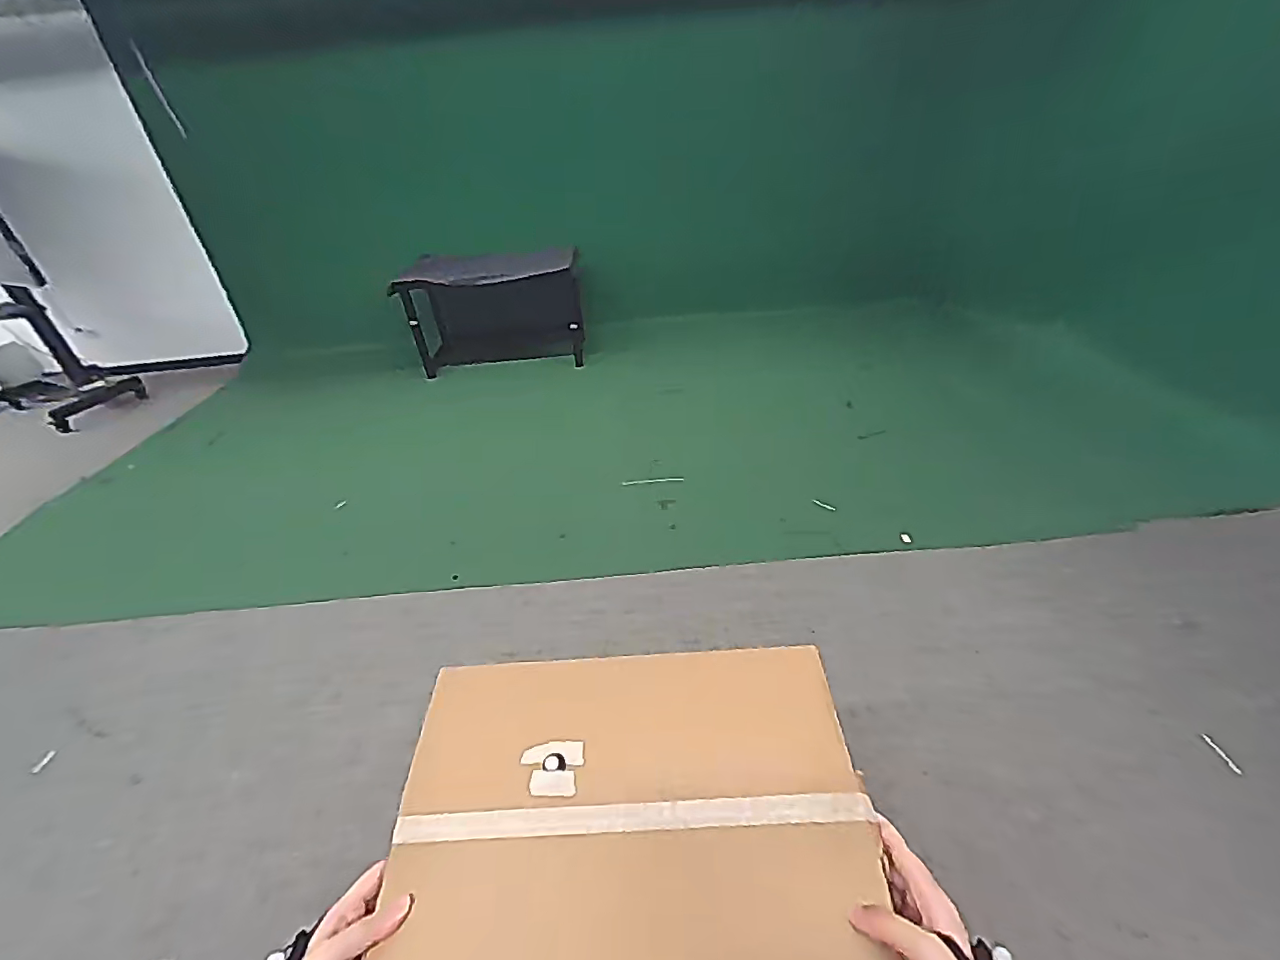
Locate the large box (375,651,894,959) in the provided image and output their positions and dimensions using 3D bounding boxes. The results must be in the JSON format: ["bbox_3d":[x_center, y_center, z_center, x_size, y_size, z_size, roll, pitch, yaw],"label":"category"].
[{"bbox_3d":[0.004,0.415,0.574,0.408,0.320,0.320,-6,41,4],"label":"large box"}]
